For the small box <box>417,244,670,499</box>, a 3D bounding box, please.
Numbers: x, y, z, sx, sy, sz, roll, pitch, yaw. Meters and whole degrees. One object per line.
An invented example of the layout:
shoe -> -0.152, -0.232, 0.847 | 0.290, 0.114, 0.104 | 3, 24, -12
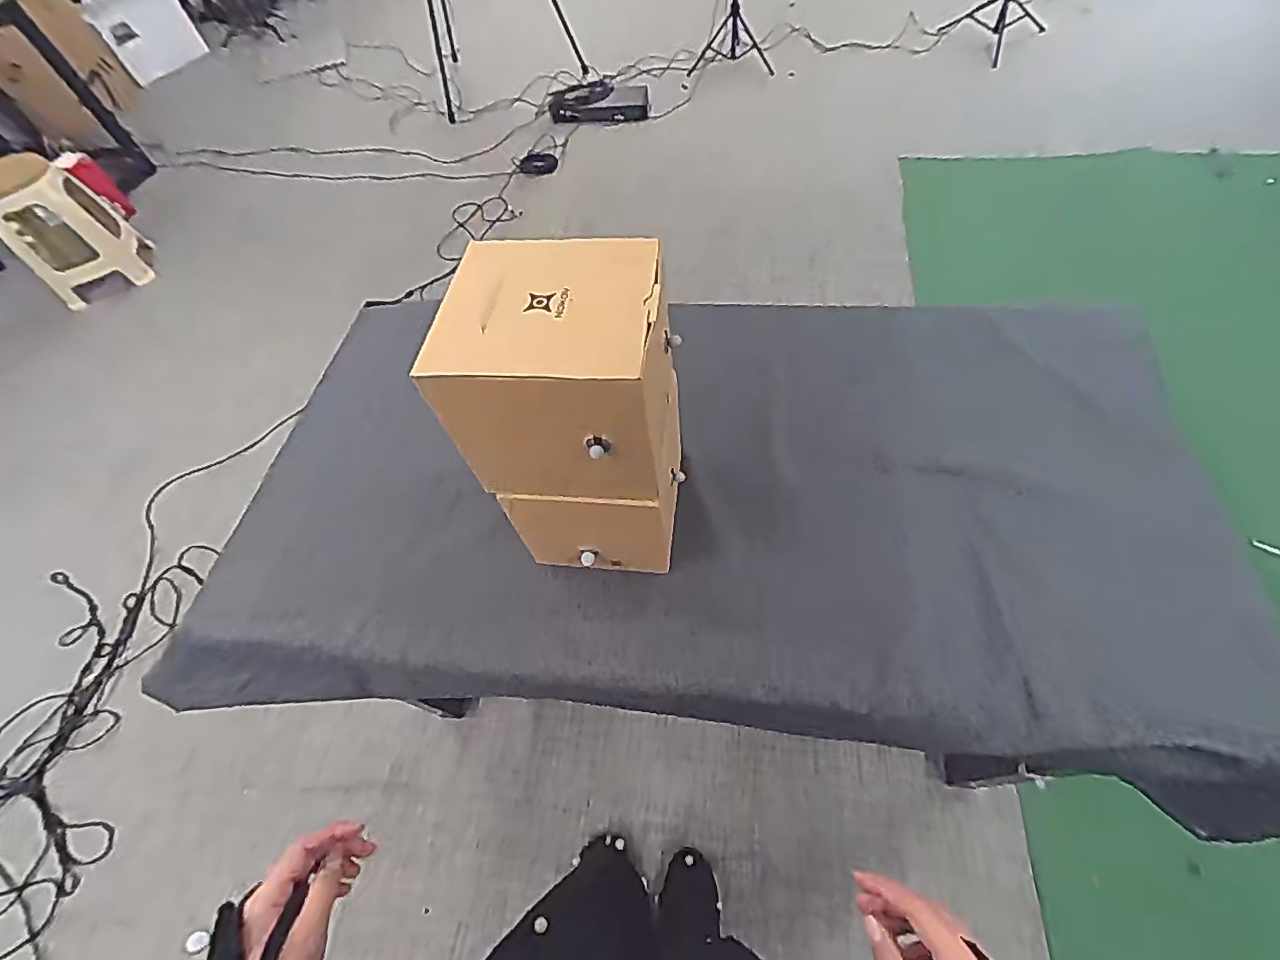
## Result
small box -> -0.066, -0.093, 0.502 | 0.179, 0.176, 0.168 | 1, 57, 9

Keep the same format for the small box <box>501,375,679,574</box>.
small box -> -0.044, -0.007, 0.638 | 0.168, 0.176, 0.179 | 3, 59, 9
